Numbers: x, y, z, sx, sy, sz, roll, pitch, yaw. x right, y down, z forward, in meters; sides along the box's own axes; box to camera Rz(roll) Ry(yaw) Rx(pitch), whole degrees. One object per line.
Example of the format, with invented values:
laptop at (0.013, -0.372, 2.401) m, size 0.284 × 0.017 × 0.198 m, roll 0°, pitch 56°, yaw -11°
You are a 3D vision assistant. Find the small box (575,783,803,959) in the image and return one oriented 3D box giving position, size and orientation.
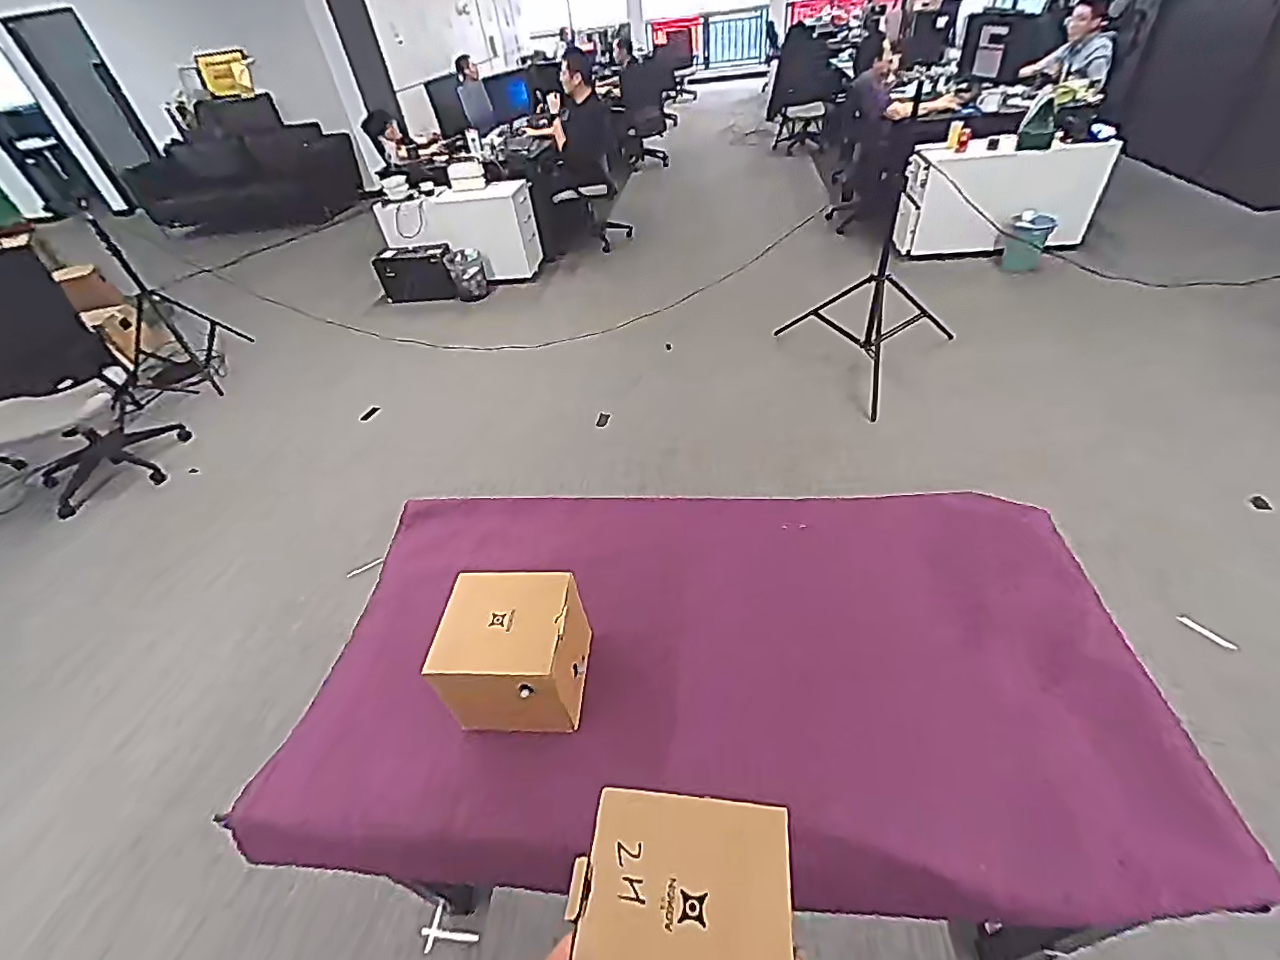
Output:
small box at (0.052, 0.406, 0.495) m, size 0.179 × 0.176 × 0.168 m, roll -1°, pitch 40°, yaw 13°

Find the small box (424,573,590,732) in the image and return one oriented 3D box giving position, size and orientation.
small box at (-0.181, 0.255, 0.797) m, size 0.179 × 0.176 × 0.168 m, roll -2°, pitch 42°, yaw 6°
